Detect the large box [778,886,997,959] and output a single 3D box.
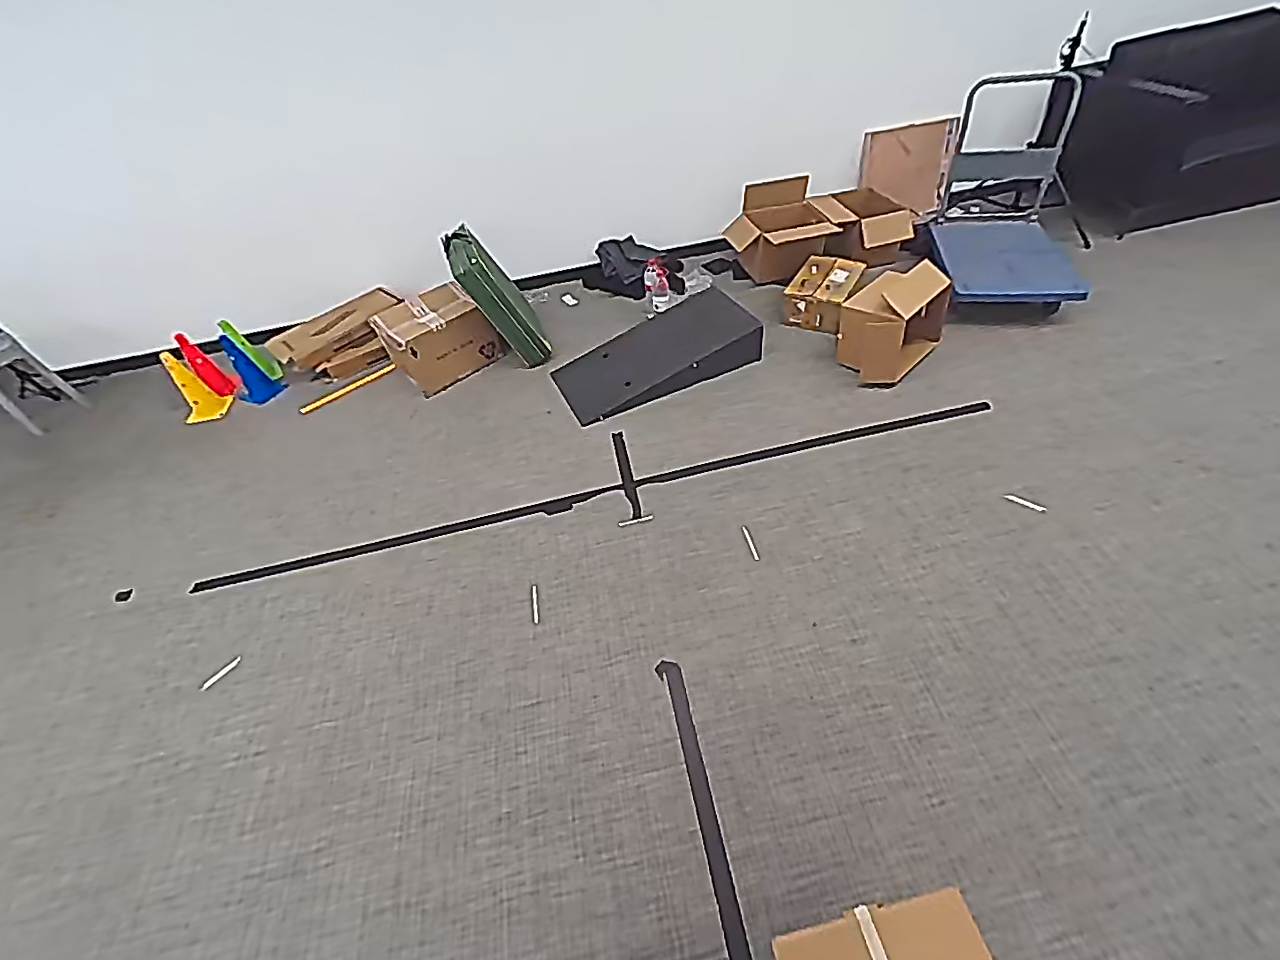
[{"bbox_3d":[0.438,0.928,0.845,0.320,0.320,0.408,-18,48,2],"label":"large box"}]
